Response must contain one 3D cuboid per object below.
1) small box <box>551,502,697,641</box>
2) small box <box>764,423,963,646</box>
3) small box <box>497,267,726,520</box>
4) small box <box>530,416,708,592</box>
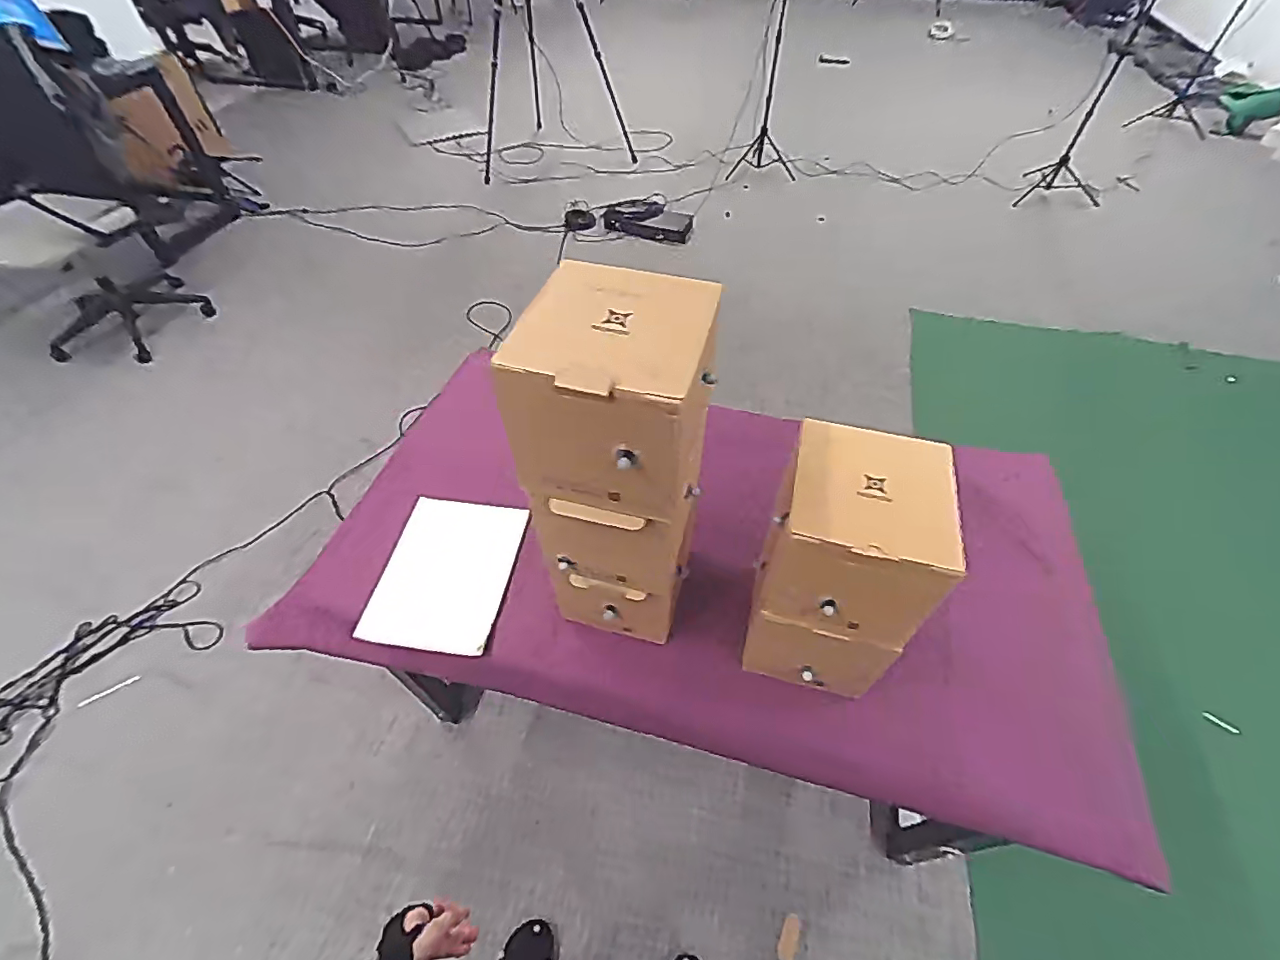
[{"bbox_3d":[-0.015,0.116,0.807,0.168,0.176,0.179,12,52,10],"label":"small box"},{"bbox_3d":[0.249,0.065,0.635,0.168,0.176,0.179,12,51,10],"label":"small box"},{"bbox_3d":[-0.018,-0.084,0.547,0.168,0.176,0.179,13,51,10],"label":"small box"},{"bbox_3d":[-0.017,0.016,0.675,0.168,0.176,0.179,12,51,10],"label":"small box"}]
